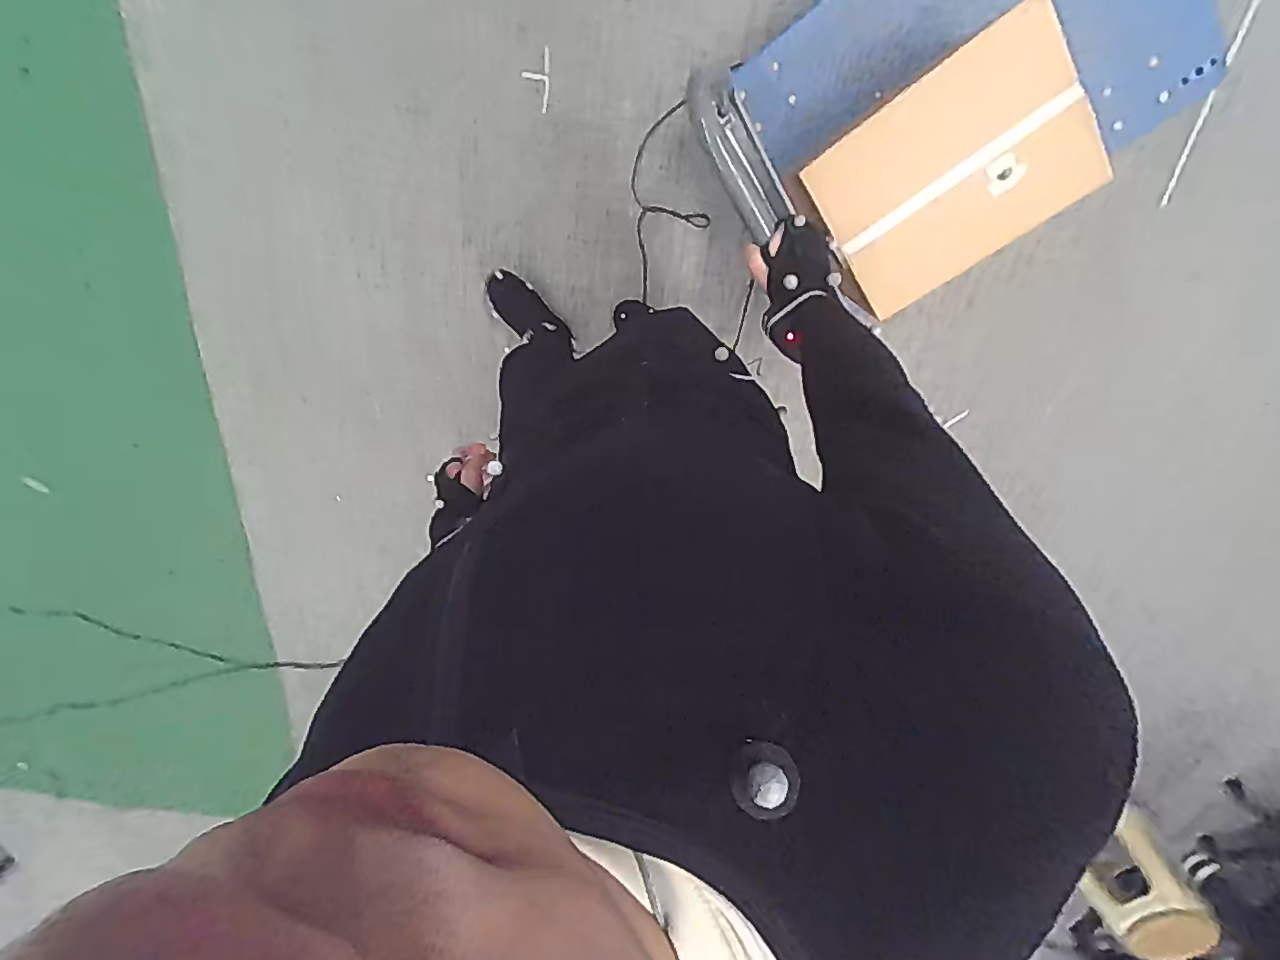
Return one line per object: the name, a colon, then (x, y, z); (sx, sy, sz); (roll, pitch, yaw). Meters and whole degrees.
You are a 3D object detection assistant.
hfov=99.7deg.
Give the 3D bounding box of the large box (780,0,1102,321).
large box: (0.539, -0.577, 1.053); (0.408, 0.320, 0.320); (-32, 110, 19)
